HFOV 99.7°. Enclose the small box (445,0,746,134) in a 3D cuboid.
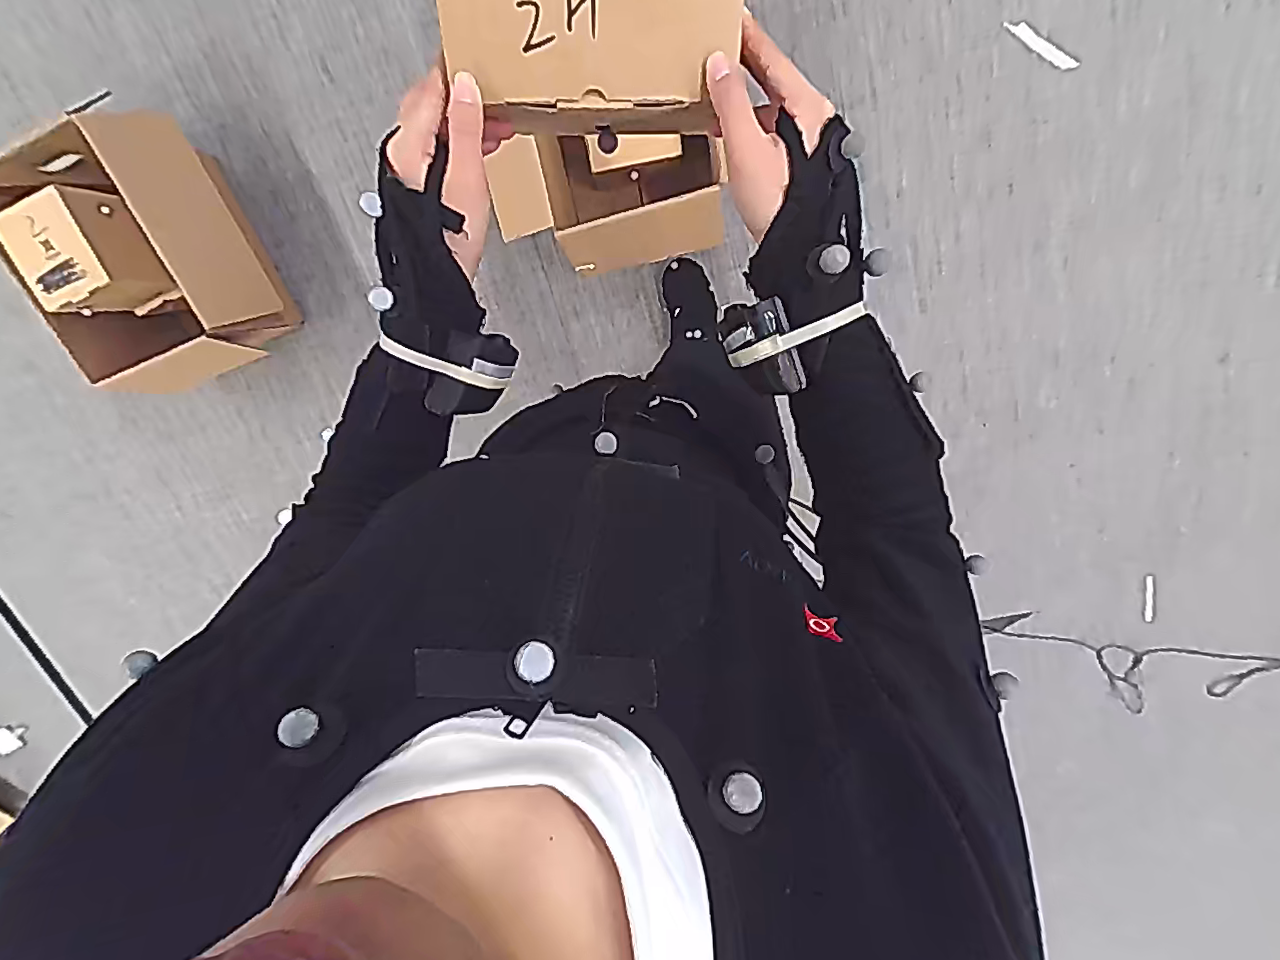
[{"bbox_3d":[-0.023,-0.334,0.343,0.168,0.176,0.179,1,117,1],"label":"small box"}]
